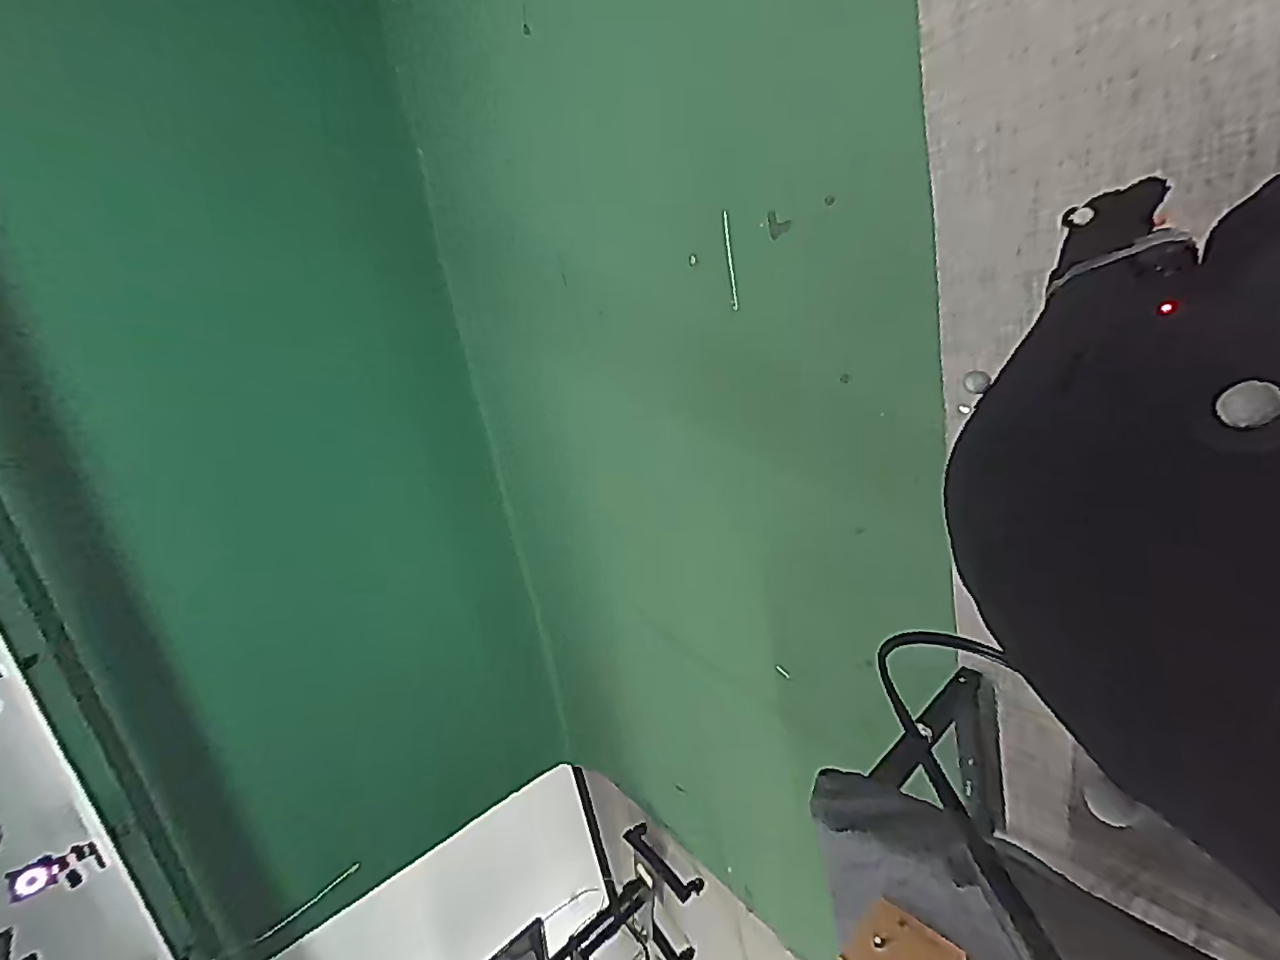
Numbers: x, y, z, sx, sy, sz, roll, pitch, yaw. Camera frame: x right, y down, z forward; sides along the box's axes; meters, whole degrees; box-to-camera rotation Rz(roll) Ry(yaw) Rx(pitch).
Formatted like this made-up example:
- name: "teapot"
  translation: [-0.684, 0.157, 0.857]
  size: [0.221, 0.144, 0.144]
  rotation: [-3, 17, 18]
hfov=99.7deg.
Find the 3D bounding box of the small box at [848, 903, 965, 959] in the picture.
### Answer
- name: "small box"
  translation: [0.513, 0.963, 1.014]
  size: [0.168, 0.176, 0.179]
  rotation: [2, 110, 55]
